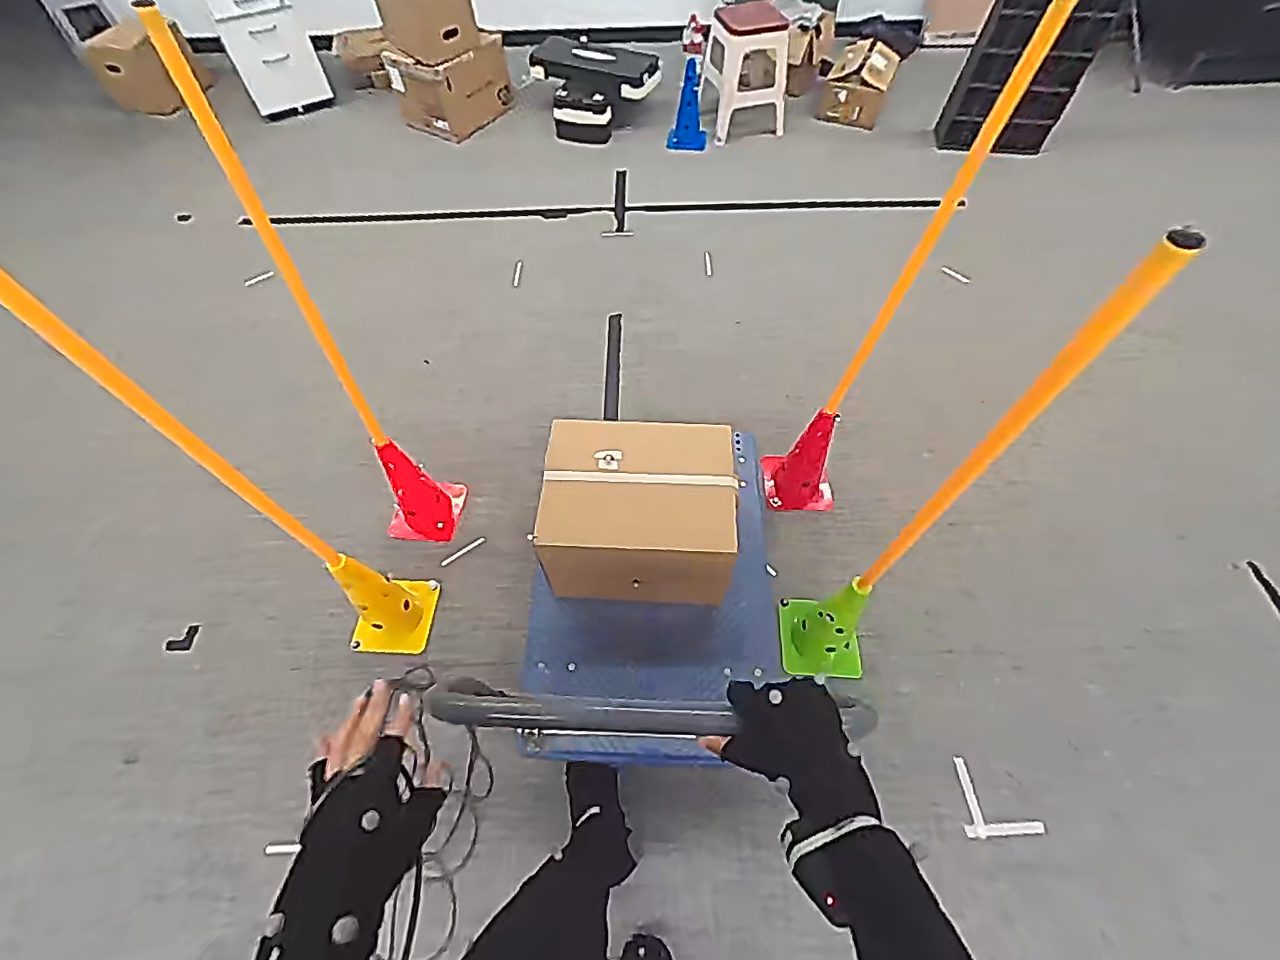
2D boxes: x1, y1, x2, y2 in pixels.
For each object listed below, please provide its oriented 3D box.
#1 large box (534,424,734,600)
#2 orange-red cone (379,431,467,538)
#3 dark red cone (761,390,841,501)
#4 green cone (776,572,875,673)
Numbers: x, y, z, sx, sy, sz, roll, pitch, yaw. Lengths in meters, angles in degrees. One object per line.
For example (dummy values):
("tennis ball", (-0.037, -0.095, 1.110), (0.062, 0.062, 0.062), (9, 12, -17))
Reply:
("large box", (-0.002, 0.084, 1.268), (0.408, 0.320, 0.320), (2, 58, 3))
("orange-red cone", (-0.644, -0.015, 1.509), (0.198, 0.360, 0.199), (7, 56, 4))
("dark red cone", (0.486, -0.107, 1.532), (0.201, 0.394, 0.202), (1, 58, -1))
("green cone", (0.467, 0.311, 1.286), (0.202, 0.368, 0.200), (4, 58, 1))
